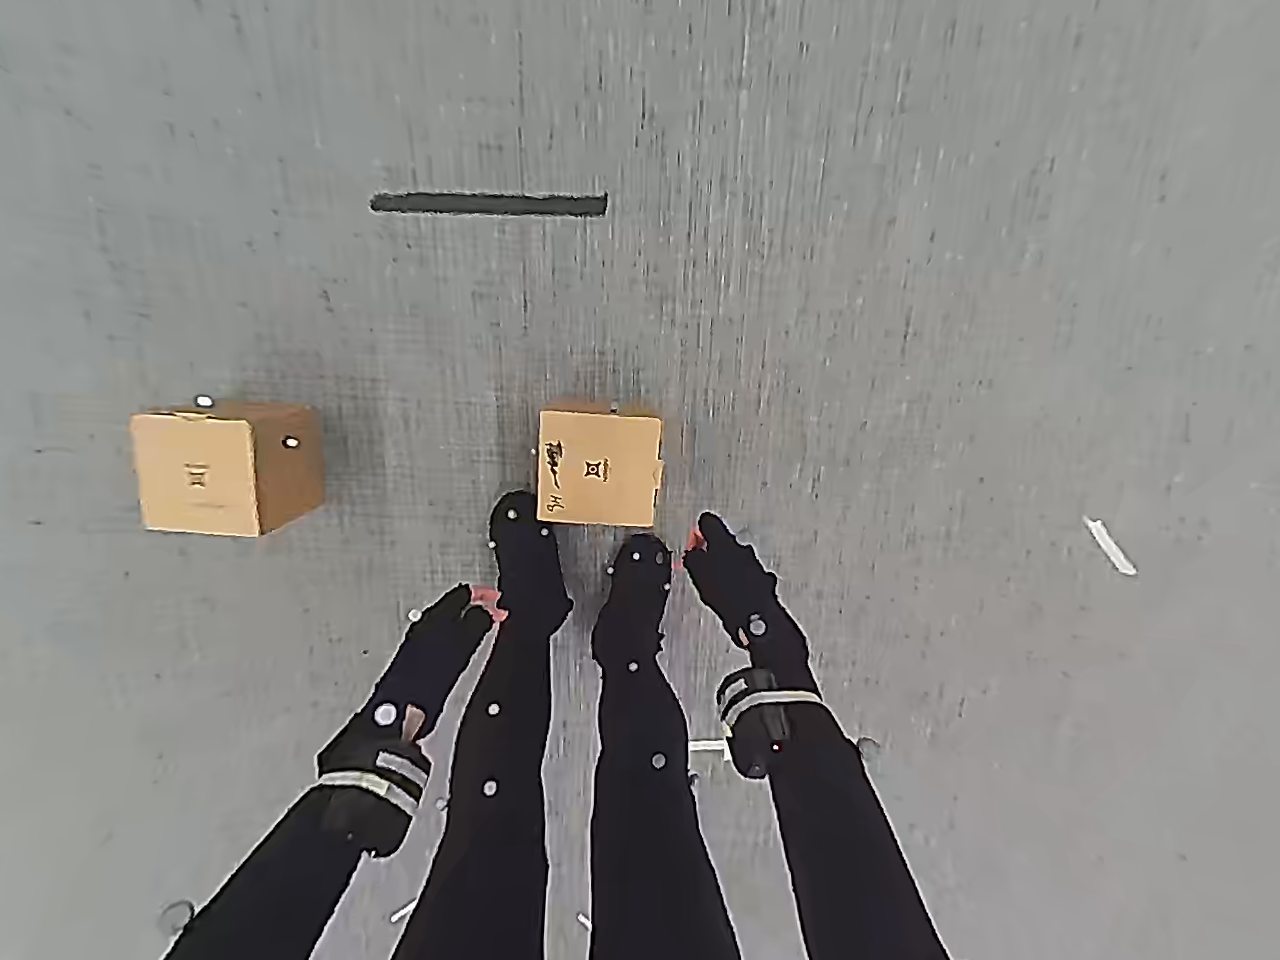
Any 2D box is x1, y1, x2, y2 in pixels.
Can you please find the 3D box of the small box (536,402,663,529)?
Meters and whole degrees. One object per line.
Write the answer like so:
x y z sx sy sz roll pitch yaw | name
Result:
-0.065 -0.031 0.854 0.179 0.176 0.168 3 103 -4 | small box

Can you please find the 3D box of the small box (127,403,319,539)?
-0.628 -0.022 0.839 0.168 0.176 0.179 4 104 -1 | small box
